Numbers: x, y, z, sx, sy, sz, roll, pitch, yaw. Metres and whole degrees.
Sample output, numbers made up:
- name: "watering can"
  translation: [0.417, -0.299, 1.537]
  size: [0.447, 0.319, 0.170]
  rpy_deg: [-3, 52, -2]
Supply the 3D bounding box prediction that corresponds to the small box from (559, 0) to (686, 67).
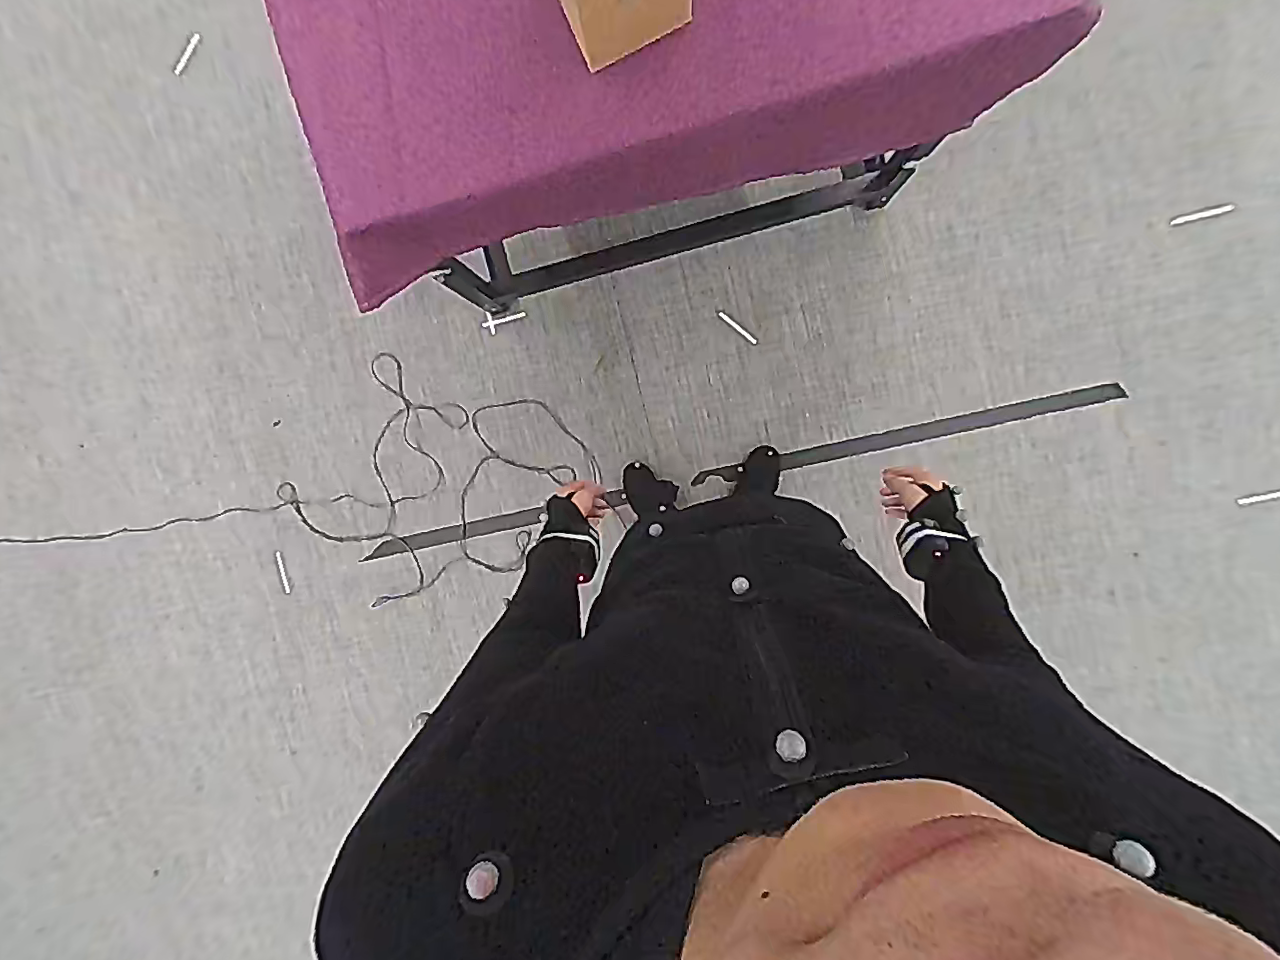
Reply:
- name: "small box"
  translation: [-0.040, -0.746, 0.767]
  size: [0.179, 0.176, 0.168]
  rpy_deg: [-24, 93, 5]
